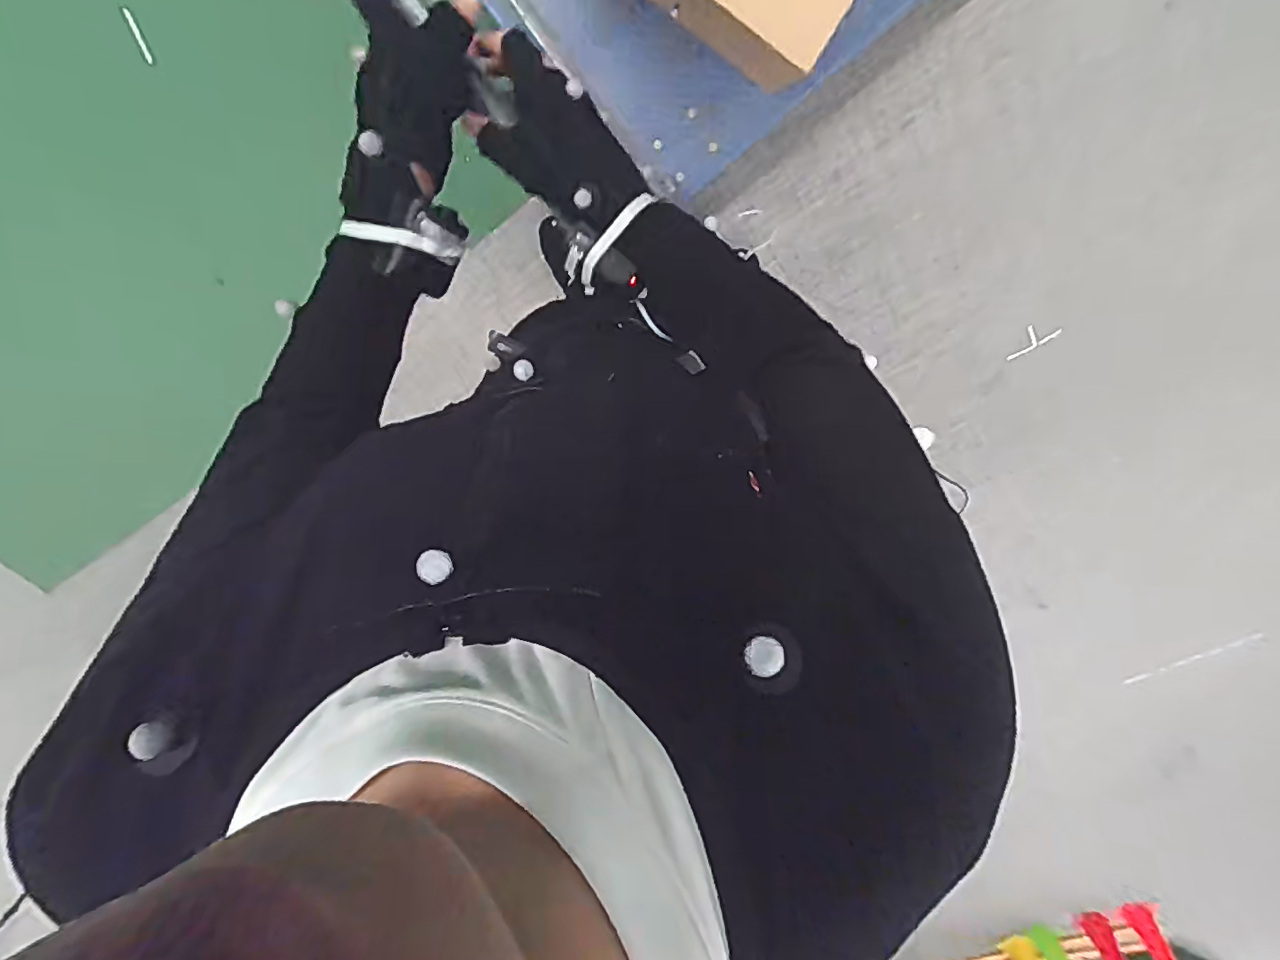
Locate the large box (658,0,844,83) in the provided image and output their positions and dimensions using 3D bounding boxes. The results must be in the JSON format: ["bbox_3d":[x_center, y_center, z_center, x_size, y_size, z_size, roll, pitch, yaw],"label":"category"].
[{"bbox_3d":[0.132,-0.827,0.733,0.408,0.320,0.320,29,119,-14],"label":"large box"}]
